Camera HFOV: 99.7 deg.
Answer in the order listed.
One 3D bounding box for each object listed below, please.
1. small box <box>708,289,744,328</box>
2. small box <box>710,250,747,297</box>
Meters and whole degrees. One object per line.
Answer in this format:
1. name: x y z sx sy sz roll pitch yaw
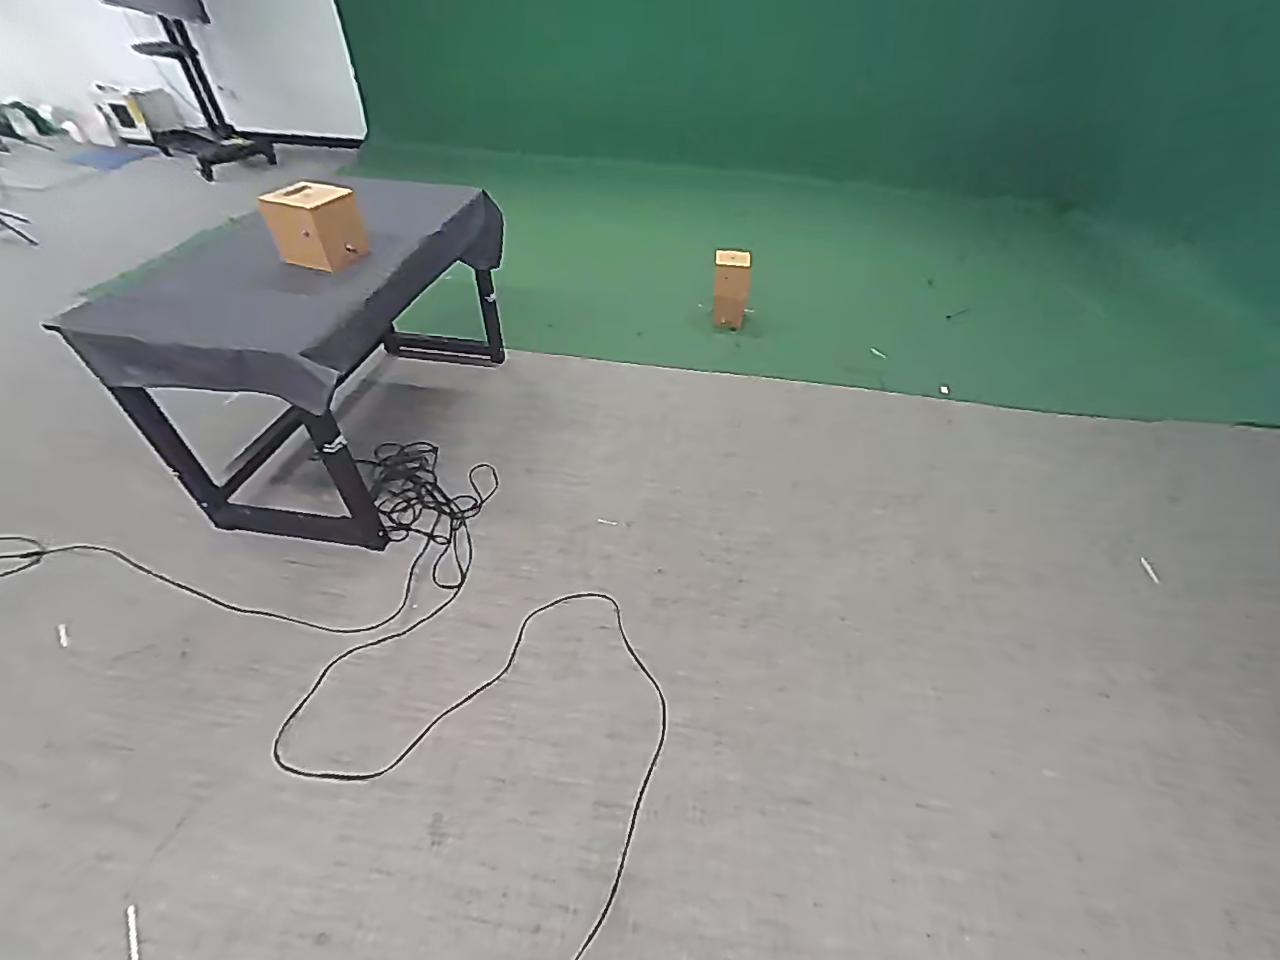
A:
1. small box: 0.448 -0.921 2.832 0.168 0.176 0.179 6 45 5
2. small box: 0.443 -1.036 2.716 0.168 0.176 0.179 6 44 4
